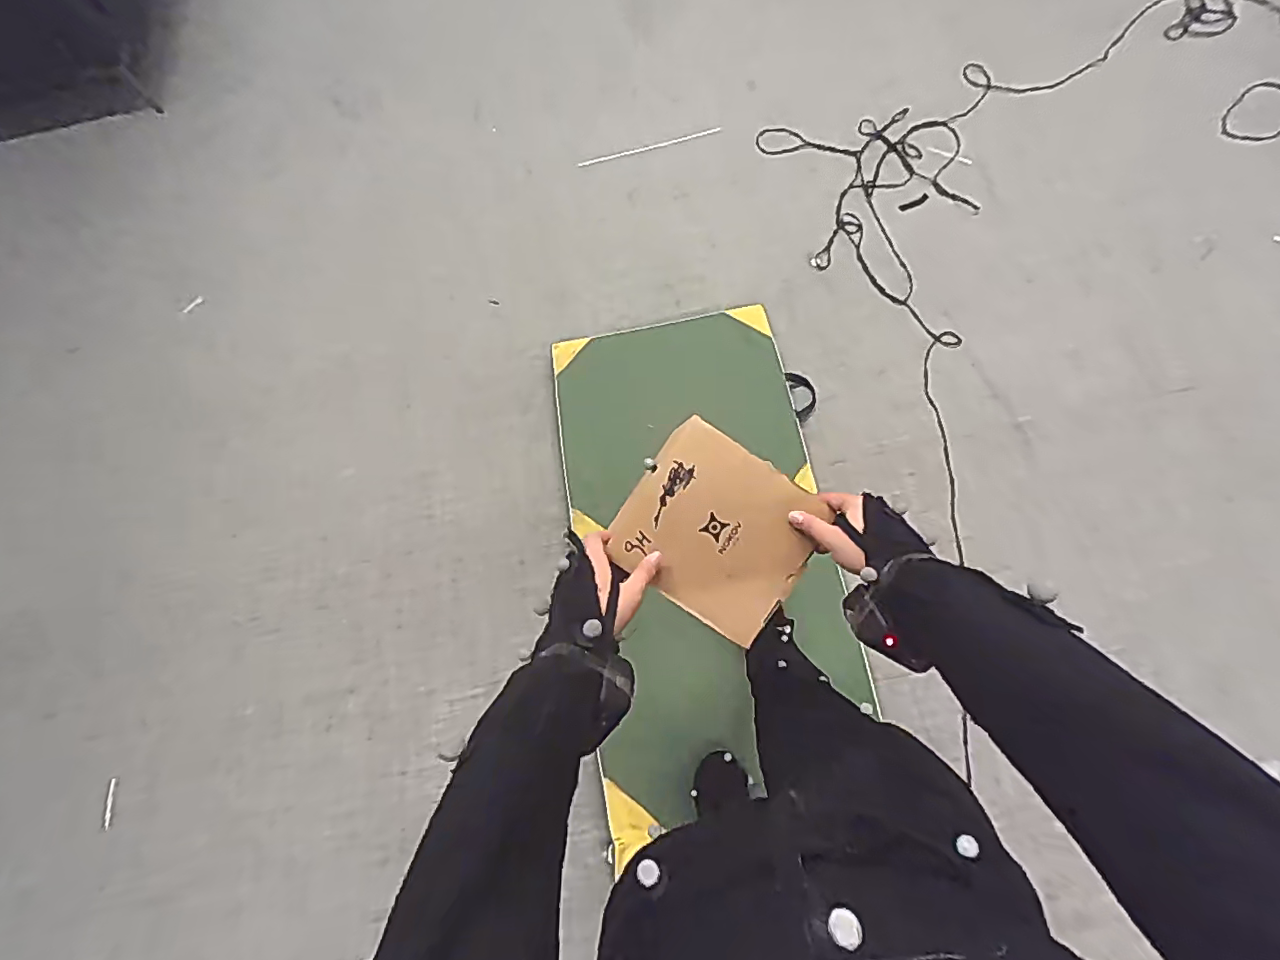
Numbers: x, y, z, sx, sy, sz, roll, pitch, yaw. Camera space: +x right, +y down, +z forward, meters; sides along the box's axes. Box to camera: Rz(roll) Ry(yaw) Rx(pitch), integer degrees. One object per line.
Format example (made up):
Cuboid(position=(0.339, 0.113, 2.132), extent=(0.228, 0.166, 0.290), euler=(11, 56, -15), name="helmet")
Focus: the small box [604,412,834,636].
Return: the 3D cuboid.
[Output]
Cuboid(position=(0.077, 0.042, 0.617), extent=(0.179, 0.176, 0.168), euler=(35, 89, -2), name="small box")
